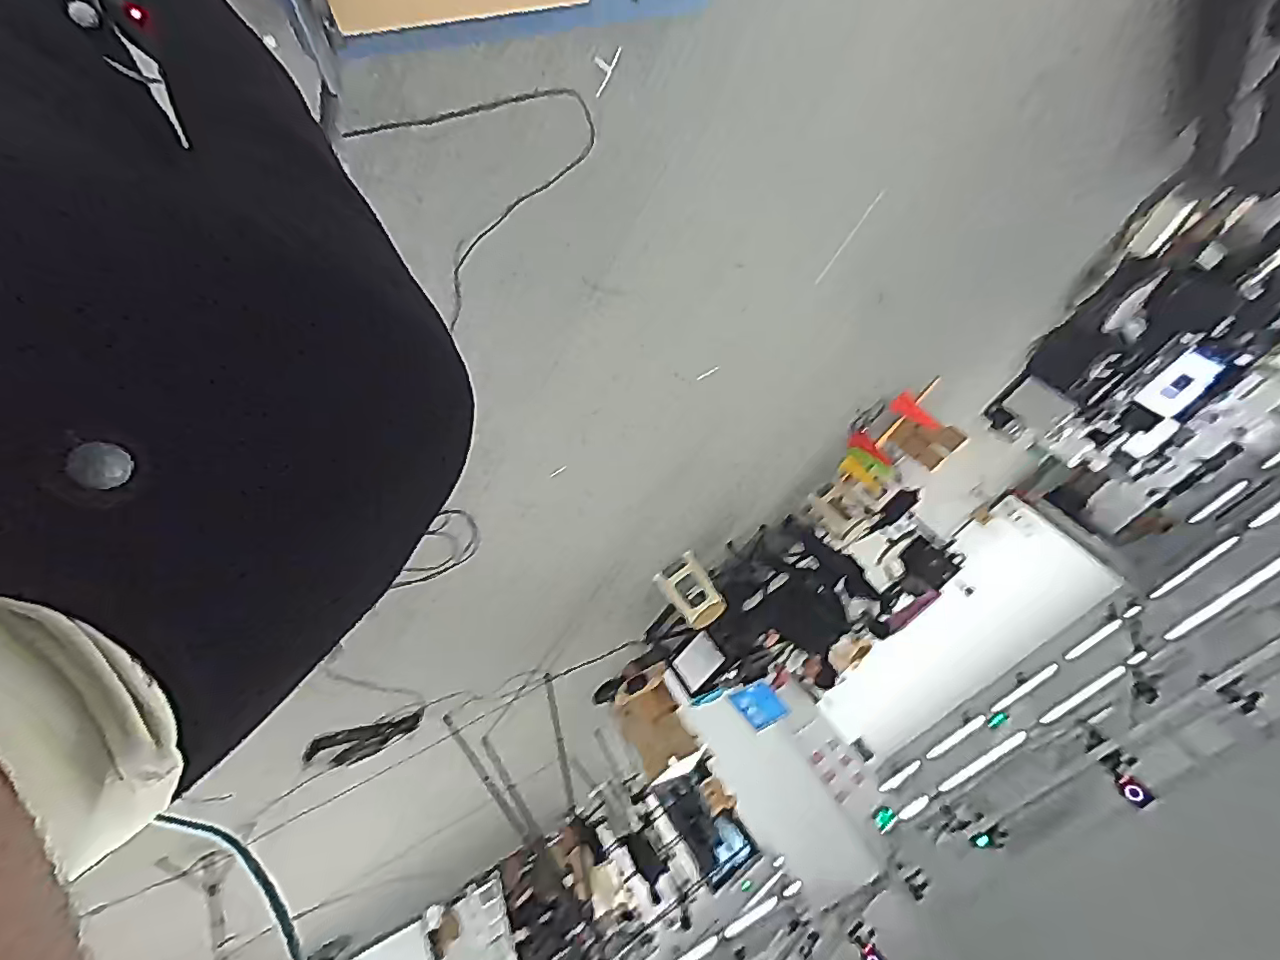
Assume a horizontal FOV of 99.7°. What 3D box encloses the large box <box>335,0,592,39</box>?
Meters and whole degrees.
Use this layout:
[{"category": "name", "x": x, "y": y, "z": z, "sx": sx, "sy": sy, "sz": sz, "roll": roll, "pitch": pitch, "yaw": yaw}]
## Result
[{"category": "large box", "x": -0.320, "y": -0.929, "z": 0.820, "sx": 0.408, "sy": 0.320, "sz": 0.320, "roll": -19, "pitch": 145, "yaw": -12}]
